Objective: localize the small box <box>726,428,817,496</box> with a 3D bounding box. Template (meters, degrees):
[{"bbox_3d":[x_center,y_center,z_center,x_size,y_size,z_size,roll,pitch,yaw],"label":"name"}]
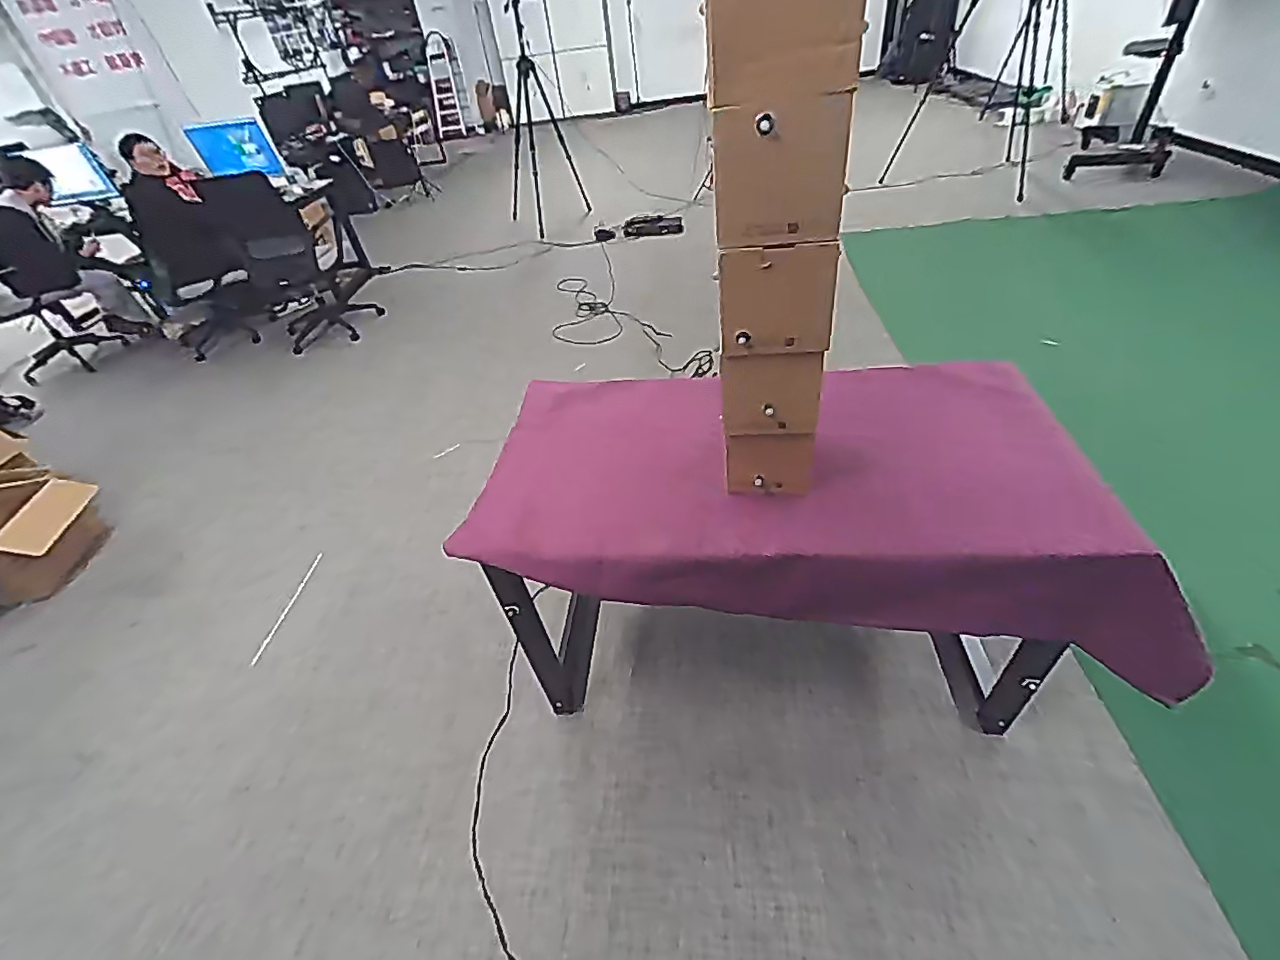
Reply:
[{"bbox_3d":[0.262,-0.087,1.096,0.168,0.176,0.179,1,43,12],"label":"small box"}]

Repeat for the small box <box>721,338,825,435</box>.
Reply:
[{"bbox_3d":[0.234,-0.198,0.978,0.168,0.176,0.179,-1,42,12],"label":"small box"}]

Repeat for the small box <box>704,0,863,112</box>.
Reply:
[{"bbox_3d":[0.171,-0.559,0.651,0.179,0.176,0.168,3,43,13],"label":"small box"}]

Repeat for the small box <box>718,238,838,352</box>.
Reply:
[{"bbox_3d":[0.216,-0.314,0.863,0.168,0.176,0.179,0,41,12],"label":"small box"}]

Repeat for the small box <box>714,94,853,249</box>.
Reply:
[{"bbox_3d":[0.194,-0.439,0.759,0.168,0.176,0.179,1,41,13],"label":"small box"}]
